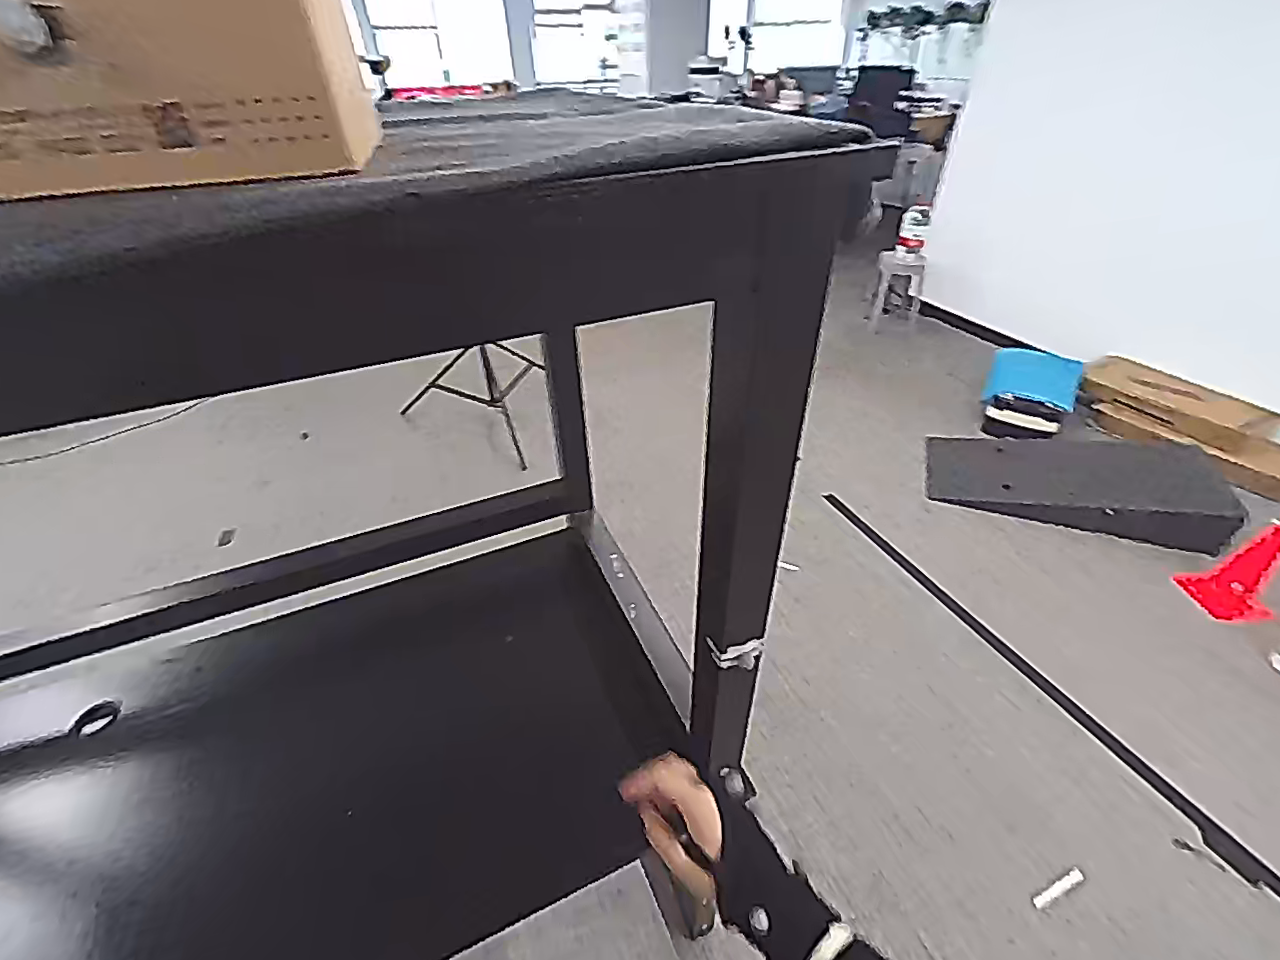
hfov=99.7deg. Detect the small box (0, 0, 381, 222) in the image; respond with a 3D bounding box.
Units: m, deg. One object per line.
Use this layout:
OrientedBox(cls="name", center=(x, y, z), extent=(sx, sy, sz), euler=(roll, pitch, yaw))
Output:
OrientedBox(cls="small box", center=(-0.226, -0.219, 0.234), extent=(0.168, 0.176, 0.179), euler=(-13, 39, -13))
